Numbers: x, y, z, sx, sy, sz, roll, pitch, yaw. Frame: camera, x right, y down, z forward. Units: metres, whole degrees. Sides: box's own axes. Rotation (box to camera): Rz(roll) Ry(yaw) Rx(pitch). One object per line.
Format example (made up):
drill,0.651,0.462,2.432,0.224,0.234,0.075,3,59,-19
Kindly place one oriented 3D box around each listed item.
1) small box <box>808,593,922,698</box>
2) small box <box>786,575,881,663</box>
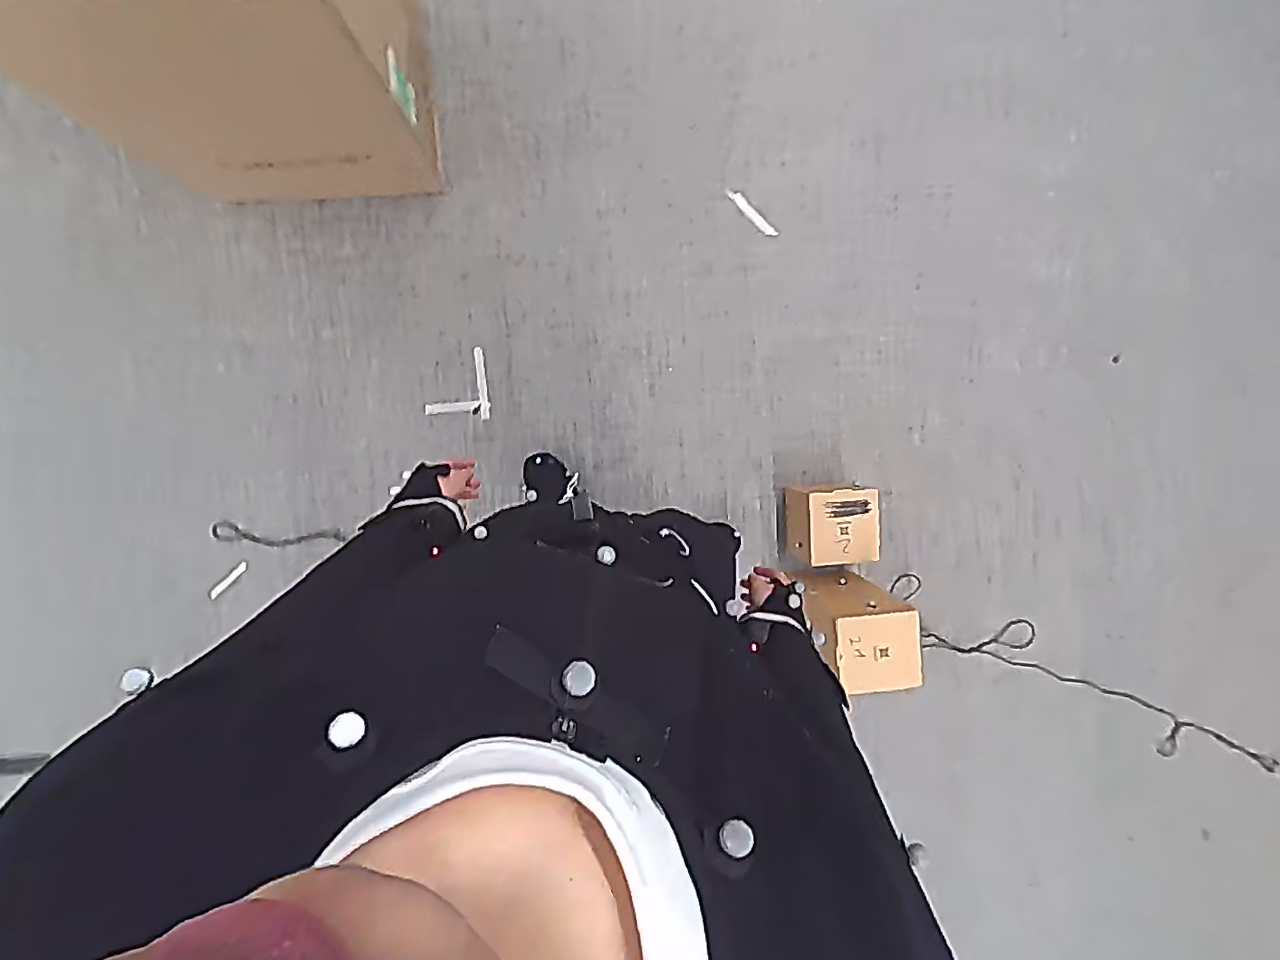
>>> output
small box,0.484,0.351,1.179,0.179,0.176,0.168,-5,94,-3
small box,0.475,0.337,1.343,0.179,0.176,0.168,-3,95,-2
